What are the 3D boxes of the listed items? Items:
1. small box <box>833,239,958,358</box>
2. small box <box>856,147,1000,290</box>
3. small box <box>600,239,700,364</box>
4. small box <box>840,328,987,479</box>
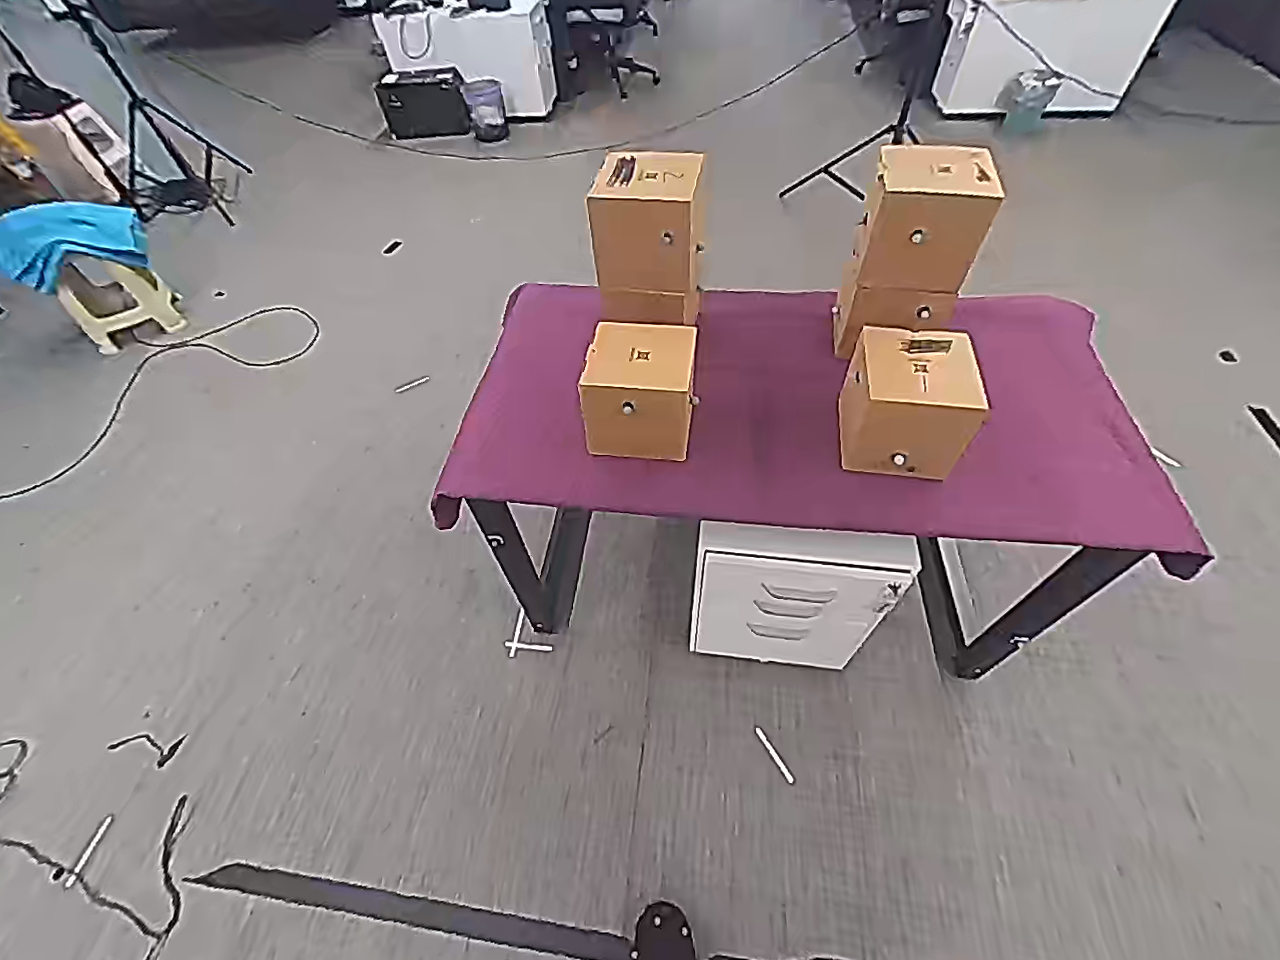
[{"bbox_3d":[0.489,-0.349,1.063,0.179,0.176,0.168,7,54,9],"label":"small box"},{"bbox_3d":[0.479,-0.449,0.933,0.179,0.176,0.168,7,55,10],"label":"small box"},{"bbox_3d":[0.027,-0.365,1.108,0.168,0.176,0.179,8,56,11],"label":"small box"},{"bbox_3d":[0.435,-0.126,0.896,0.168,0.176,0.179,6,53,9],"label":"small box"}]
